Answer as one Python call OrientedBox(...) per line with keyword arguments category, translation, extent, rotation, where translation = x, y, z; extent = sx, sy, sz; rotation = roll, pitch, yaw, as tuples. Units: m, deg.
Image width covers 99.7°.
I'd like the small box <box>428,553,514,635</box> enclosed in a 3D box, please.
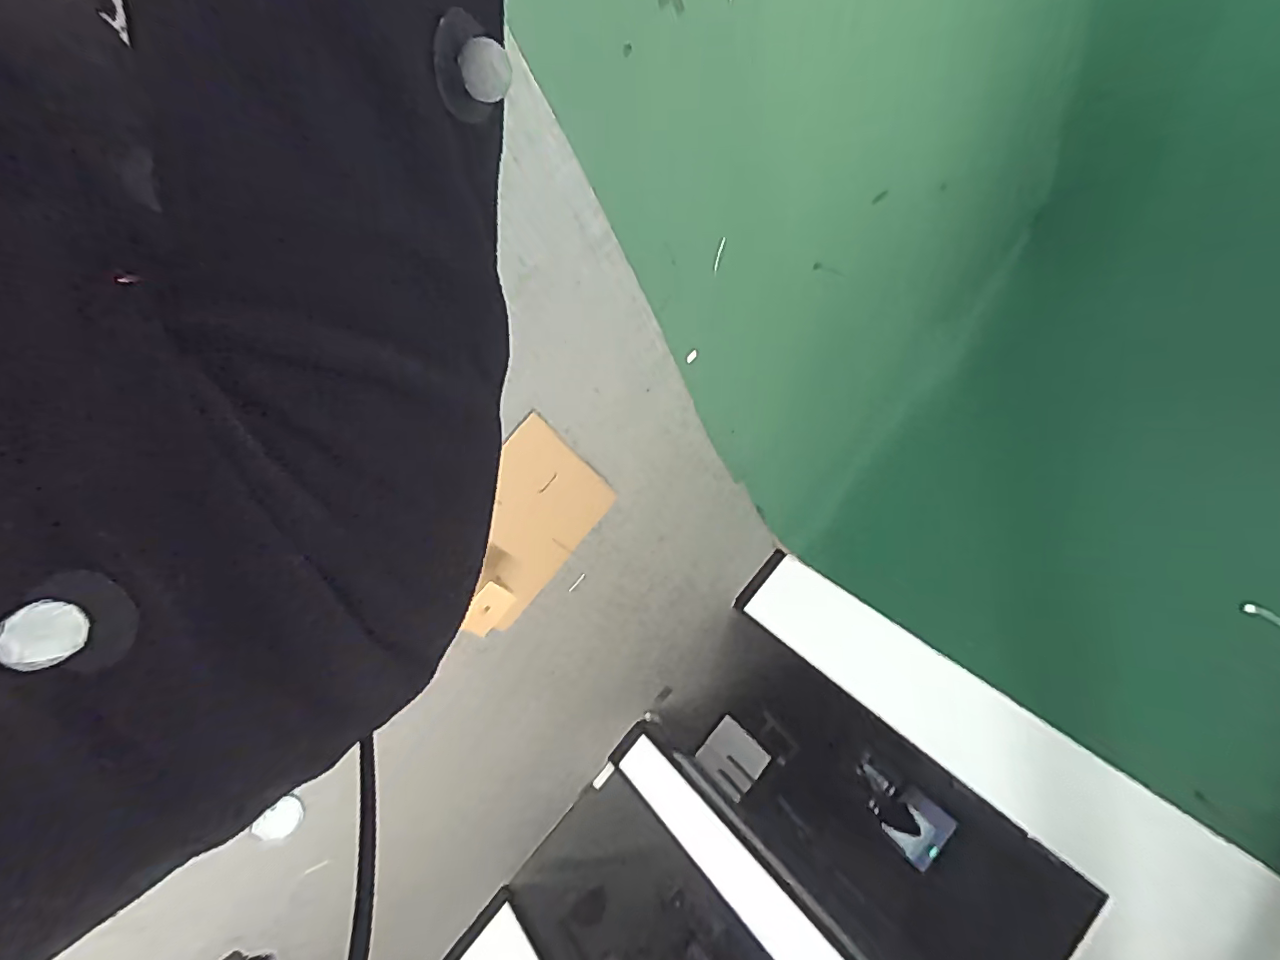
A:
OrientedBox(category="small box", translation=(-0.556, 0.369, 1.767), extent=(0.179, 0.176, 0.168), rotation=(-48, 143, -7))
